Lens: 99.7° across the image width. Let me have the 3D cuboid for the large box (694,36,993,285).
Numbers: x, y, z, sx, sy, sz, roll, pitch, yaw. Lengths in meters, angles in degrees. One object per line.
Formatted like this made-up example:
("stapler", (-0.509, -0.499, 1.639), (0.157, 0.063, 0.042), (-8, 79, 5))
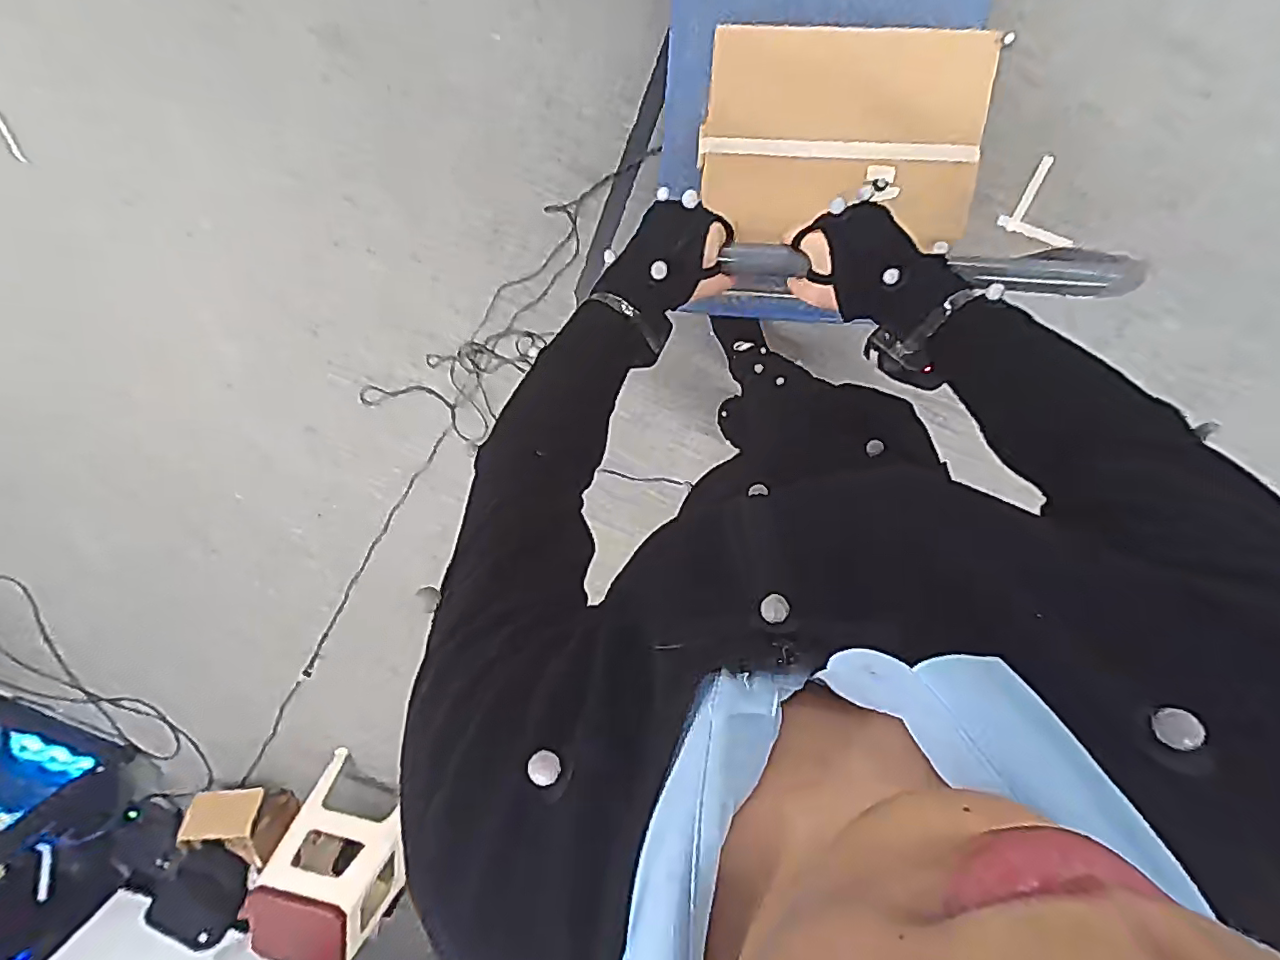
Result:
("large box", (0.306, -0.526, 0.957), (0.408, 0.320, 0.320), (5, 107, 4))
